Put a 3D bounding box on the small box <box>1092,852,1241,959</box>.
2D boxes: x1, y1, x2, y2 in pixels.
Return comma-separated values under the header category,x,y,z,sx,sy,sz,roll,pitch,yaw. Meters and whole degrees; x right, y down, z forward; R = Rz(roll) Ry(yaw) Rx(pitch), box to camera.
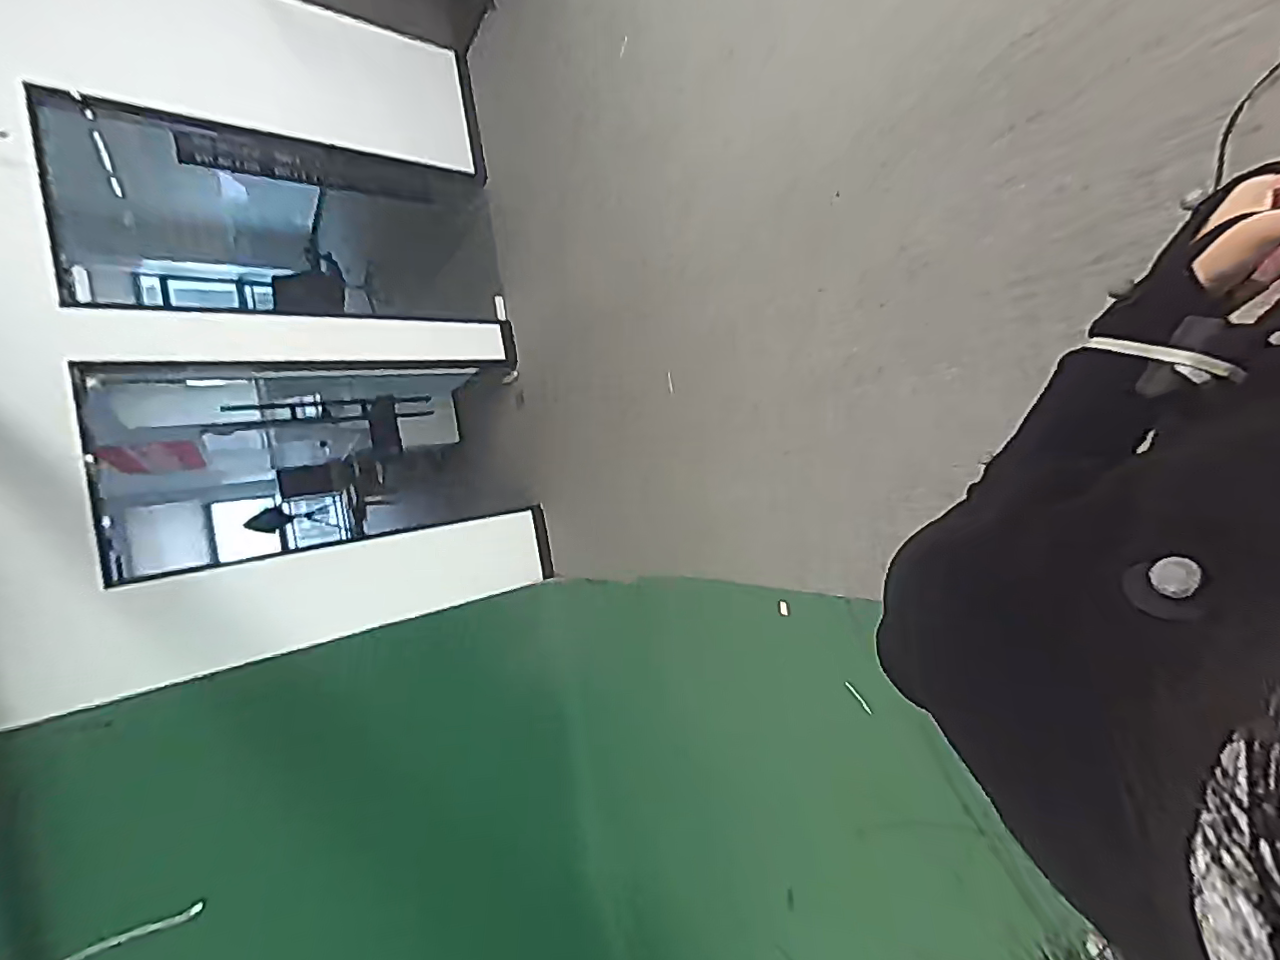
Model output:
category,x,y,z,sx,sy,sz,roll,pitch,yaw
small box,1.015,0.875,1.039,0.168,0.176,0.179,-16,86,54
